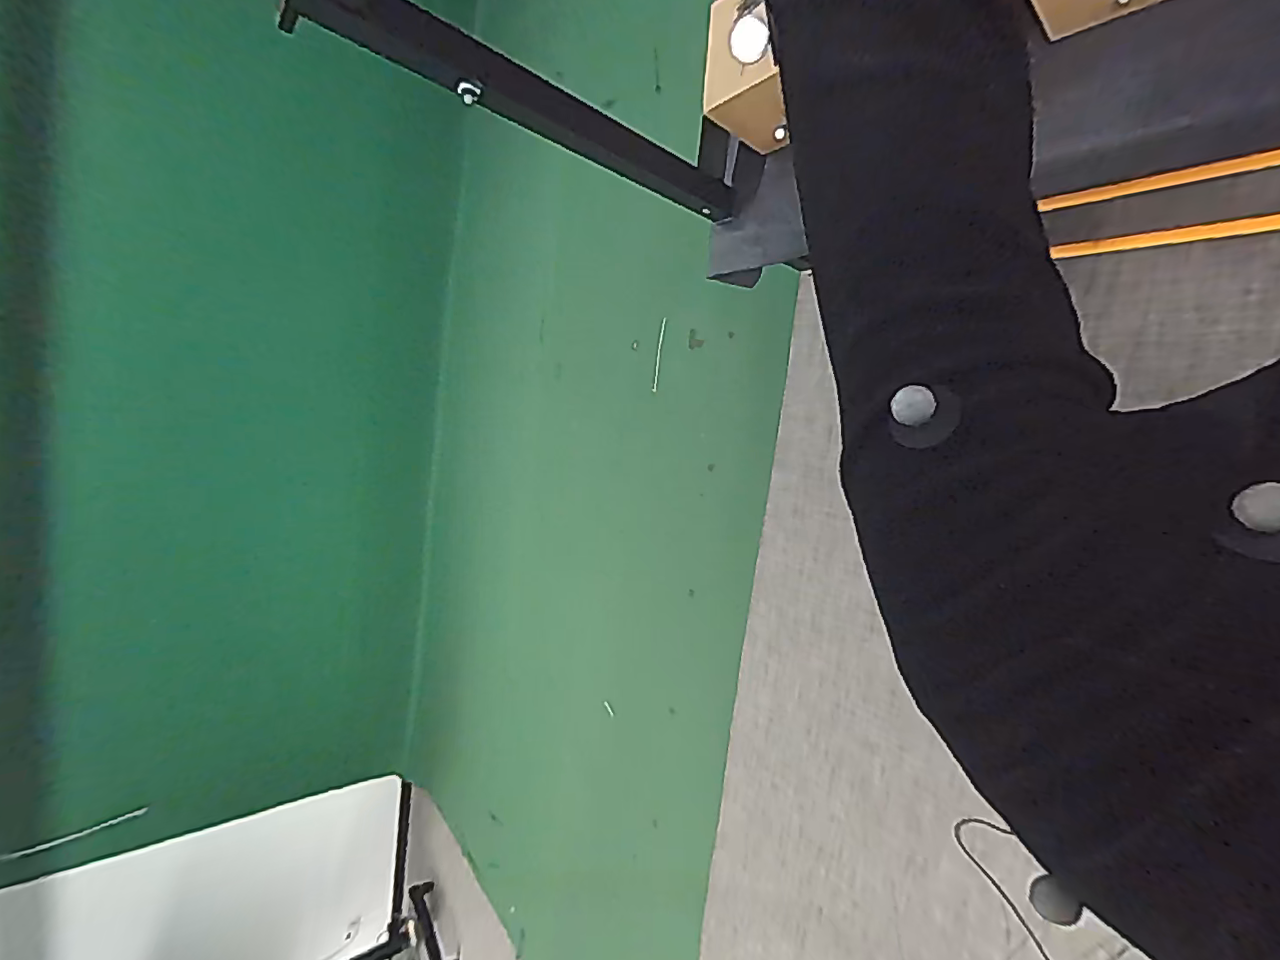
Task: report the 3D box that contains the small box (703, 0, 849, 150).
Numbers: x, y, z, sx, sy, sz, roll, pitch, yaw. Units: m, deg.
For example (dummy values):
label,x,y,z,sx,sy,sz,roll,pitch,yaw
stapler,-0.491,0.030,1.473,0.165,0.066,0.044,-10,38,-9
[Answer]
label,x,y,z,sx,sy,sz,roll,pitch,yaw
small box,0.226,-0.684,0.878,0.168,0.176,0.179,9,96,50
